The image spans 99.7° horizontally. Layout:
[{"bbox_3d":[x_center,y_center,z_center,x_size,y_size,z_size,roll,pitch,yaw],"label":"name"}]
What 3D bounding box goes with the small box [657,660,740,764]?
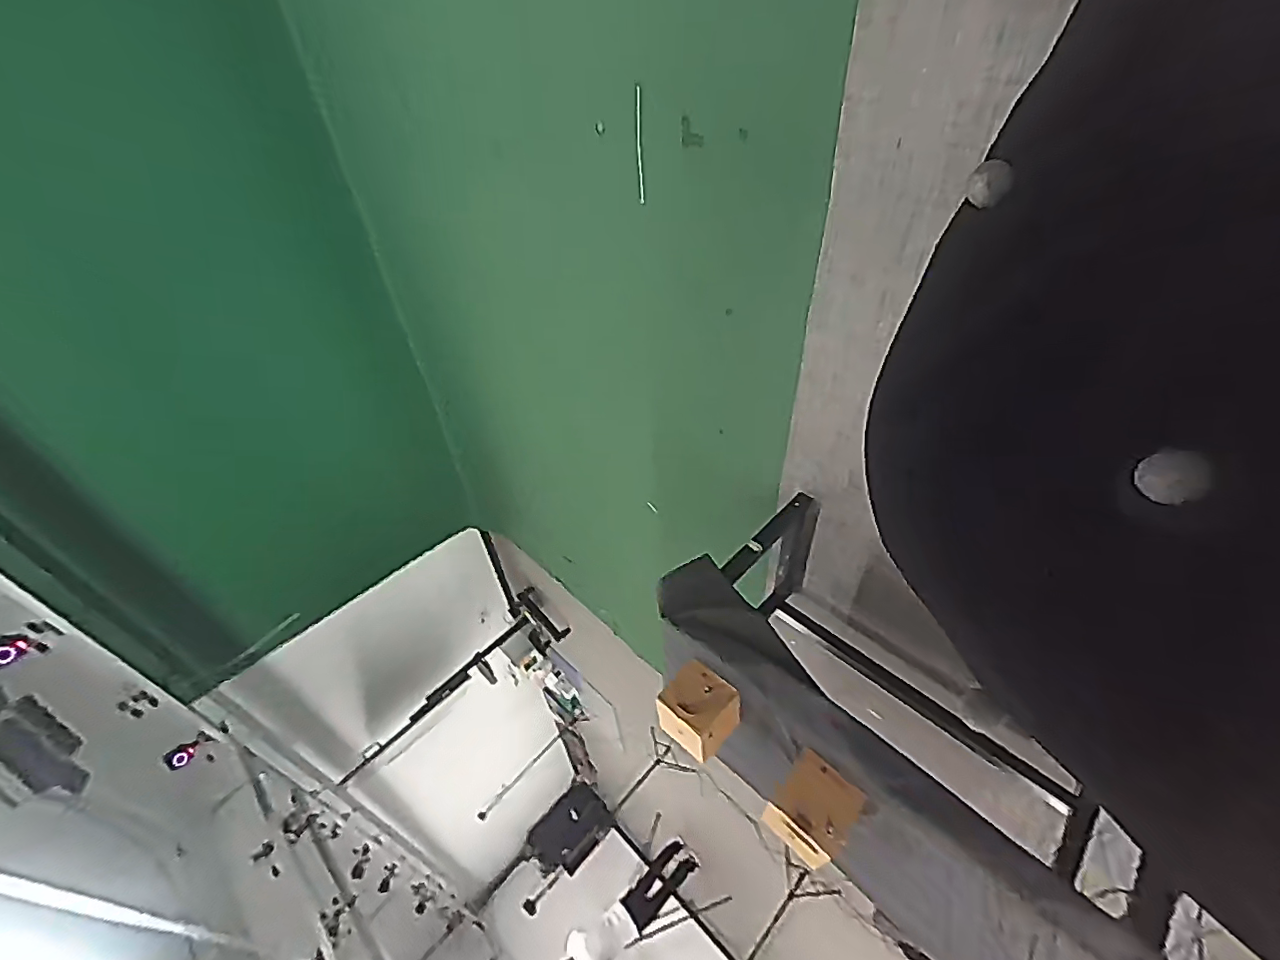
[{"bbox_3d":[0.170,0.652,1.533,0.168,0.176,0.179,28,141,37],"label":"small box"}]
